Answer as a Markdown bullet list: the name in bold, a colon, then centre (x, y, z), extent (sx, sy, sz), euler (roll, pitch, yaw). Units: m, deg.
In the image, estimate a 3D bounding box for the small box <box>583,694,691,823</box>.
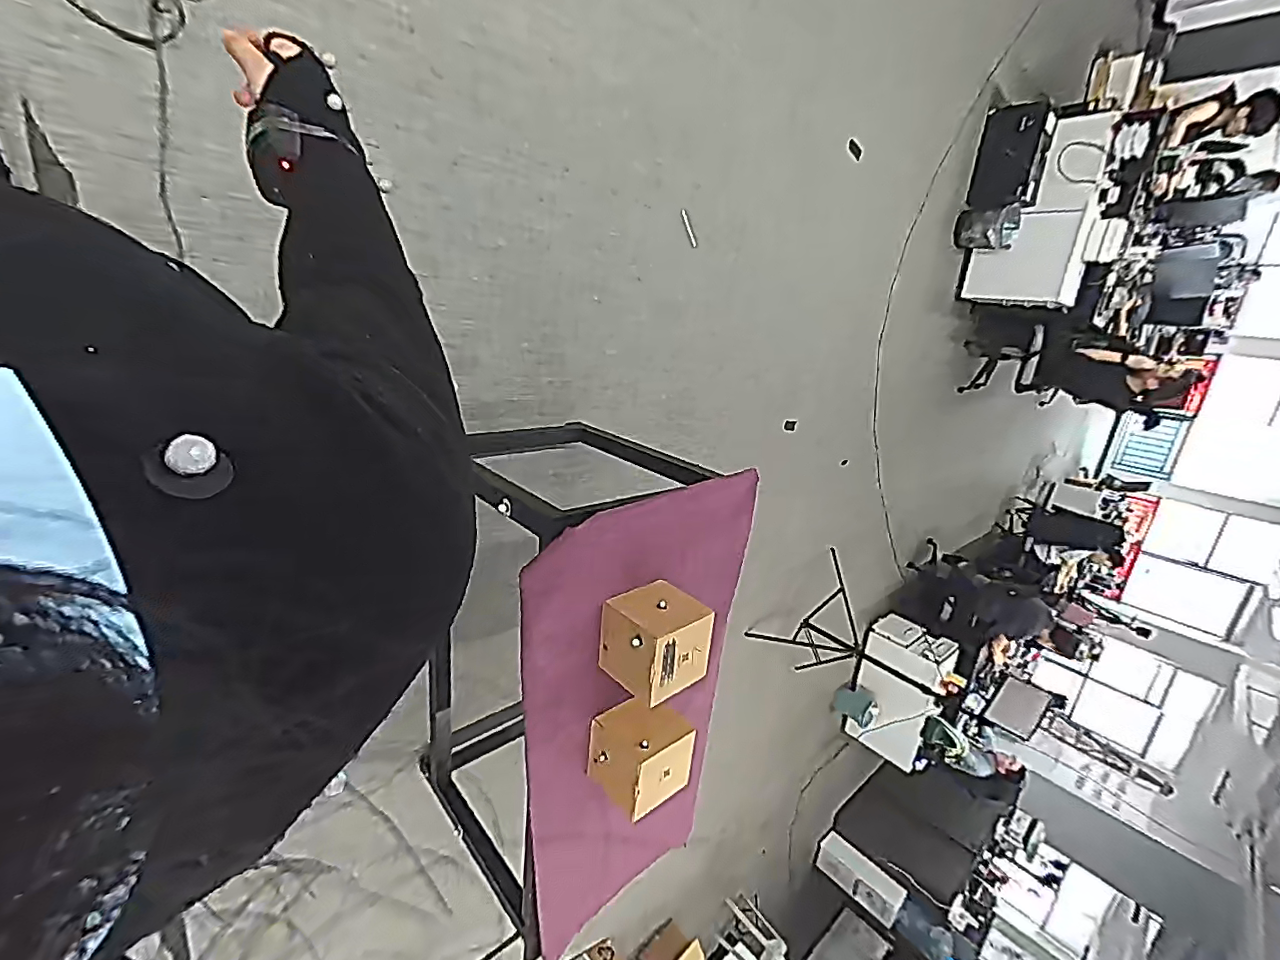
- **small box**: centre (-0.010, 0.634, 1.257), extent (0.179, 0.176, 0.168), euler (-10, 113, -41)
